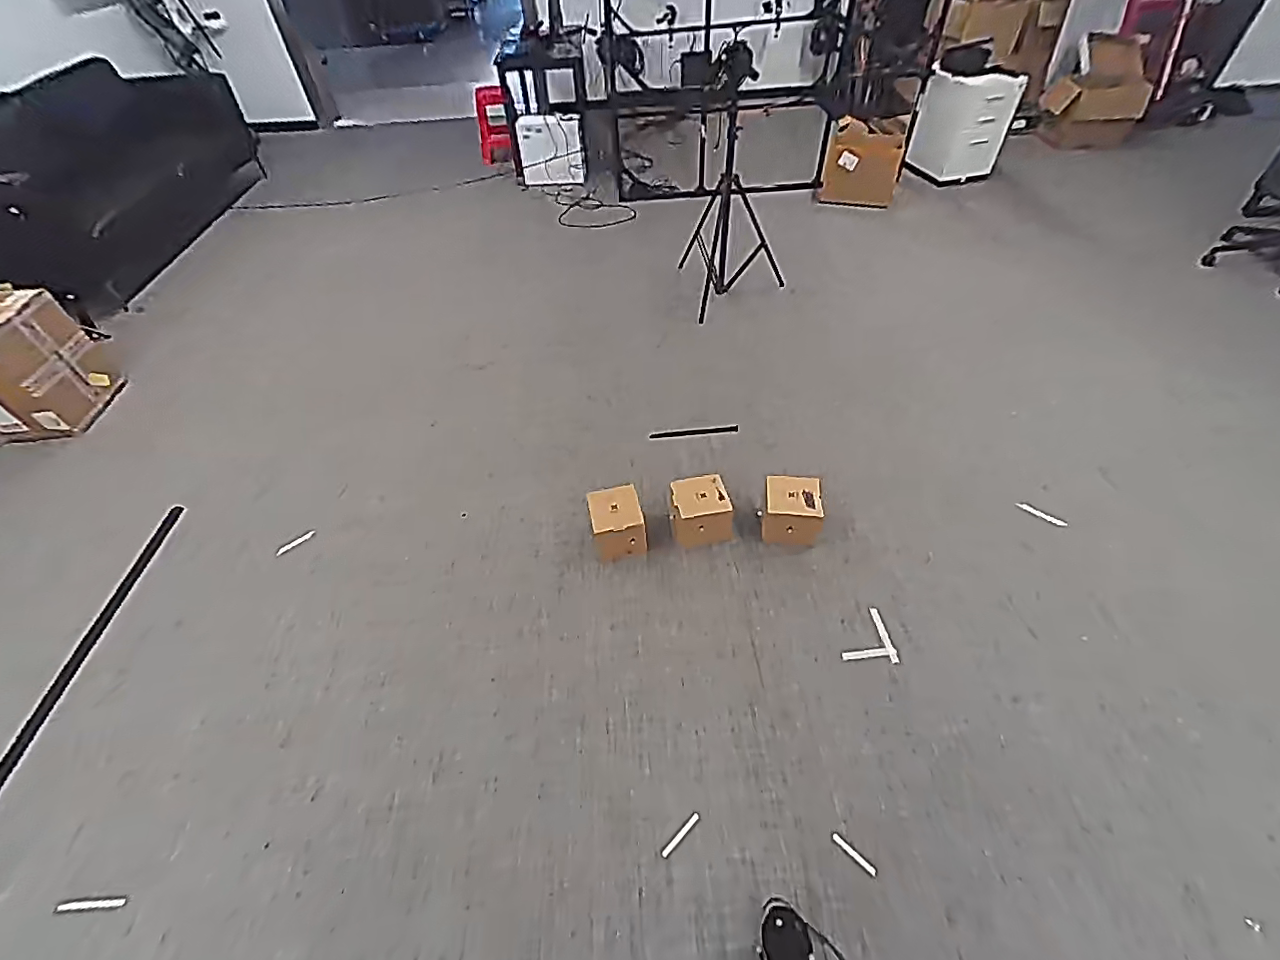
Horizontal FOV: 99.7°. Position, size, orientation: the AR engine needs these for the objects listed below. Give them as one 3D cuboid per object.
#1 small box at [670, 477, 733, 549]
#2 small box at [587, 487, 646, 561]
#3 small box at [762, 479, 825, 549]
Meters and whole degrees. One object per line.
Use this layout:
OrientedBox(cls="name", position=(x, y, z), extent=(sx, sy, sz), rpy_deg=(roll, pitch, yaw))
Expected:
OrientedBox(cls="small box", position=(0.205, 0.116, 1.830), extent=(0.179, 0.176, 0.168), rpy_deg=(-10, 48, -5))
OrientedBox(cls="small box", position=(-0.076, 0.154, 1.813), extent=(0.168, 0.176, 0.179), rpy_deg=(-11, 47, -8))
OrientedBox(cls="small box", position=(0.508, 0.117, 1.813), extent=(0.179, 0.176, 0.168), rpy_deg=(4, 48, 8))
